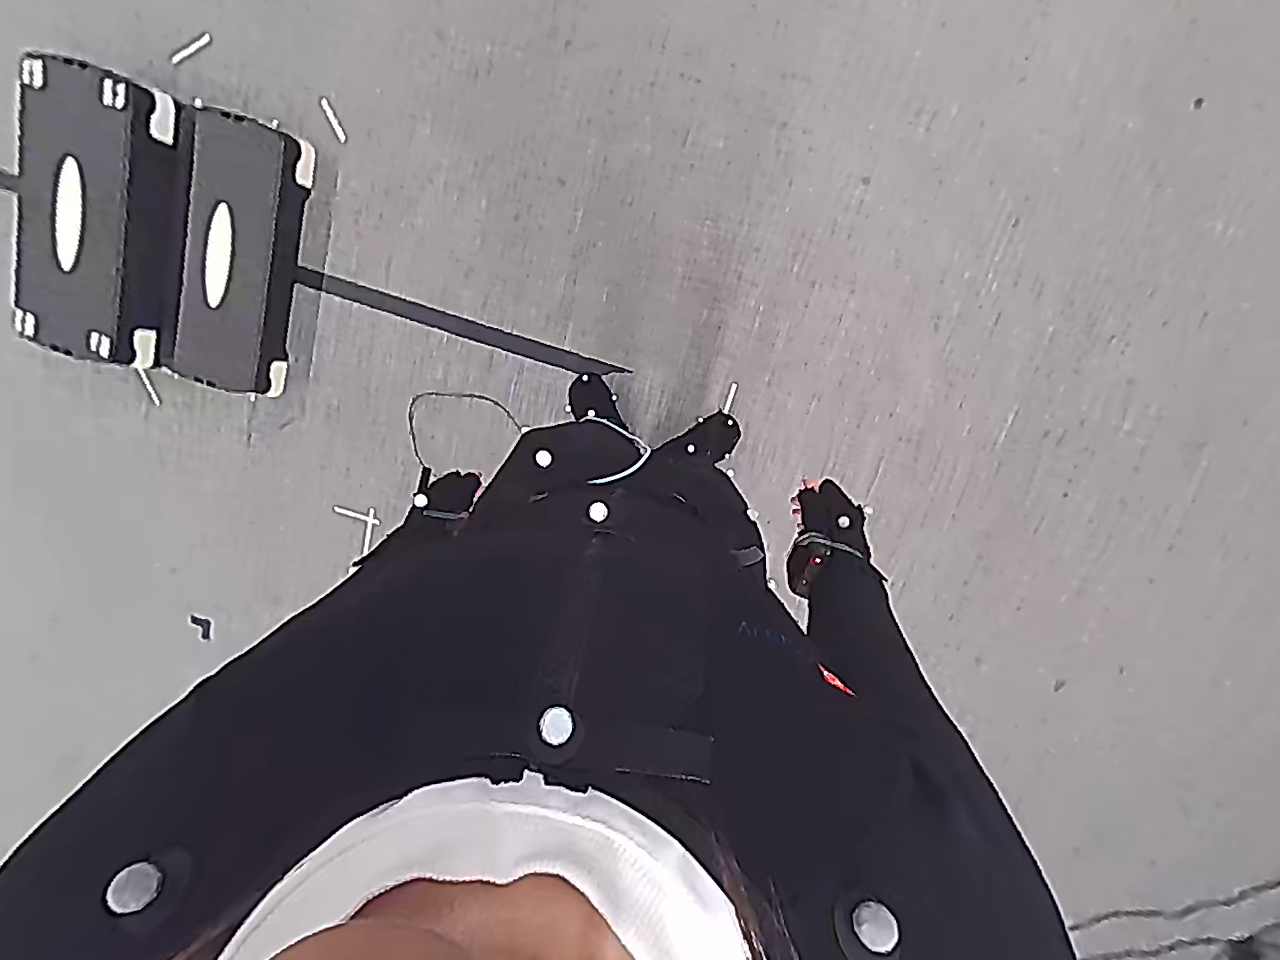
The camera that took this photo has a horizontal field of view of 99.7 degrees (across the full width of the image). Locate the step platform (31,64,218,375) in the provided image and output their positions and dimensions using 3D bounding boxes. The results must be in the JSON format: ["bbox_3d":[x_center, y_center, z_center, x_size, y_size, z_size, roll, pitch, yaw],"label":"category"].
[{"bbox_3d":[-1.295,-0.619,1.357,0.286,0.204,0.684,16,102,1],"label":"step platform"}]
